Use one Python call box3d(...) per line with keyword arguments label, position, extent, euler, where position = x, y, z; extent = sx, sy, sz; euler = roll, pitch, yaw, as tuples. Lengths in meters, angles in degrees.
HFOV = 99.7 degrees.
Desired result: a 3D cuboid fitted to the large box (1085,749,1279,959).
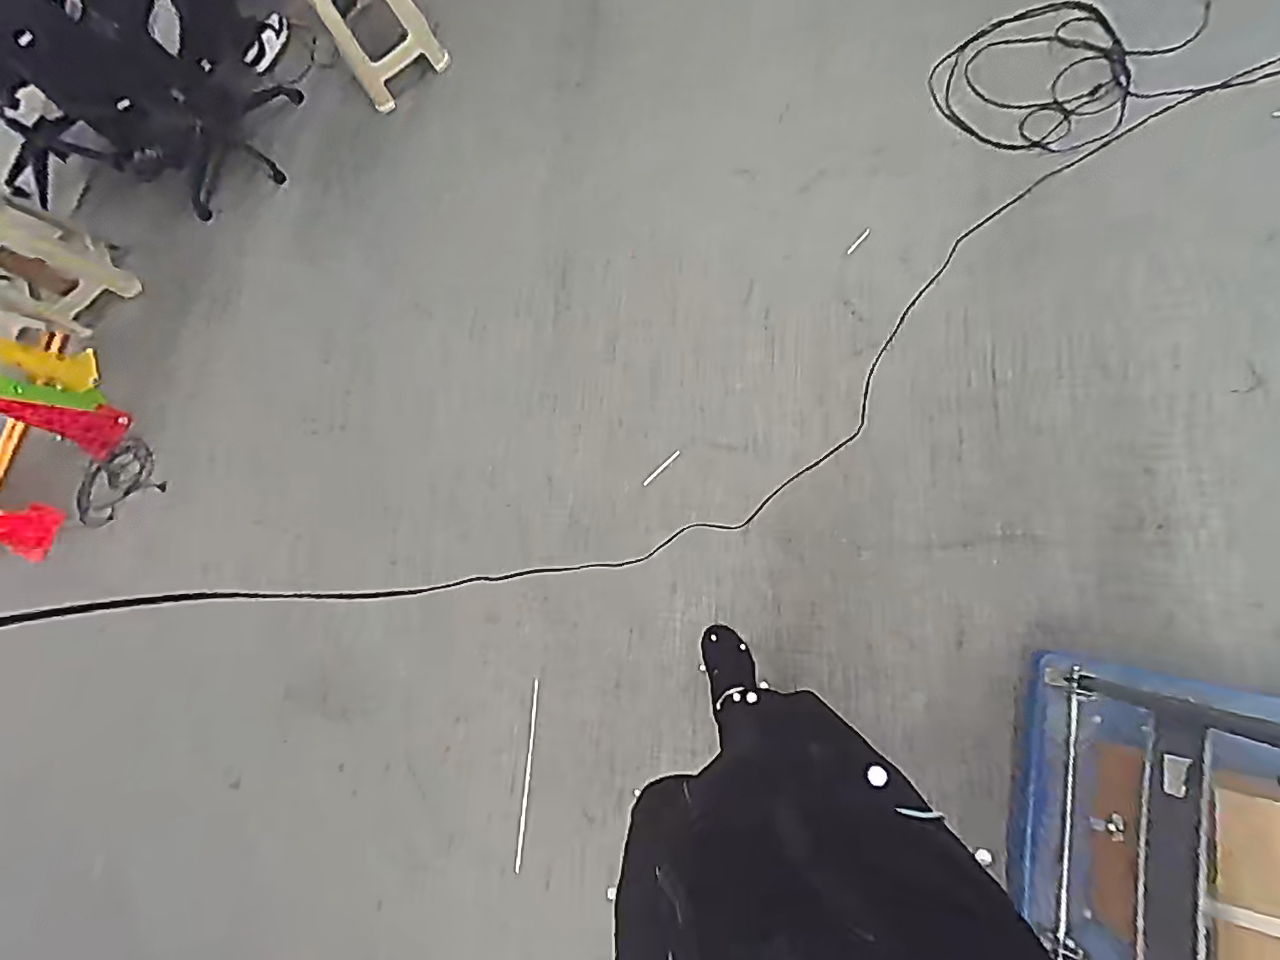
box3d(label="large box", position=(1.012, 0.661, 0.851), extent=(0.408, 0.320, 0.320), euler=(8, 79, 15))
